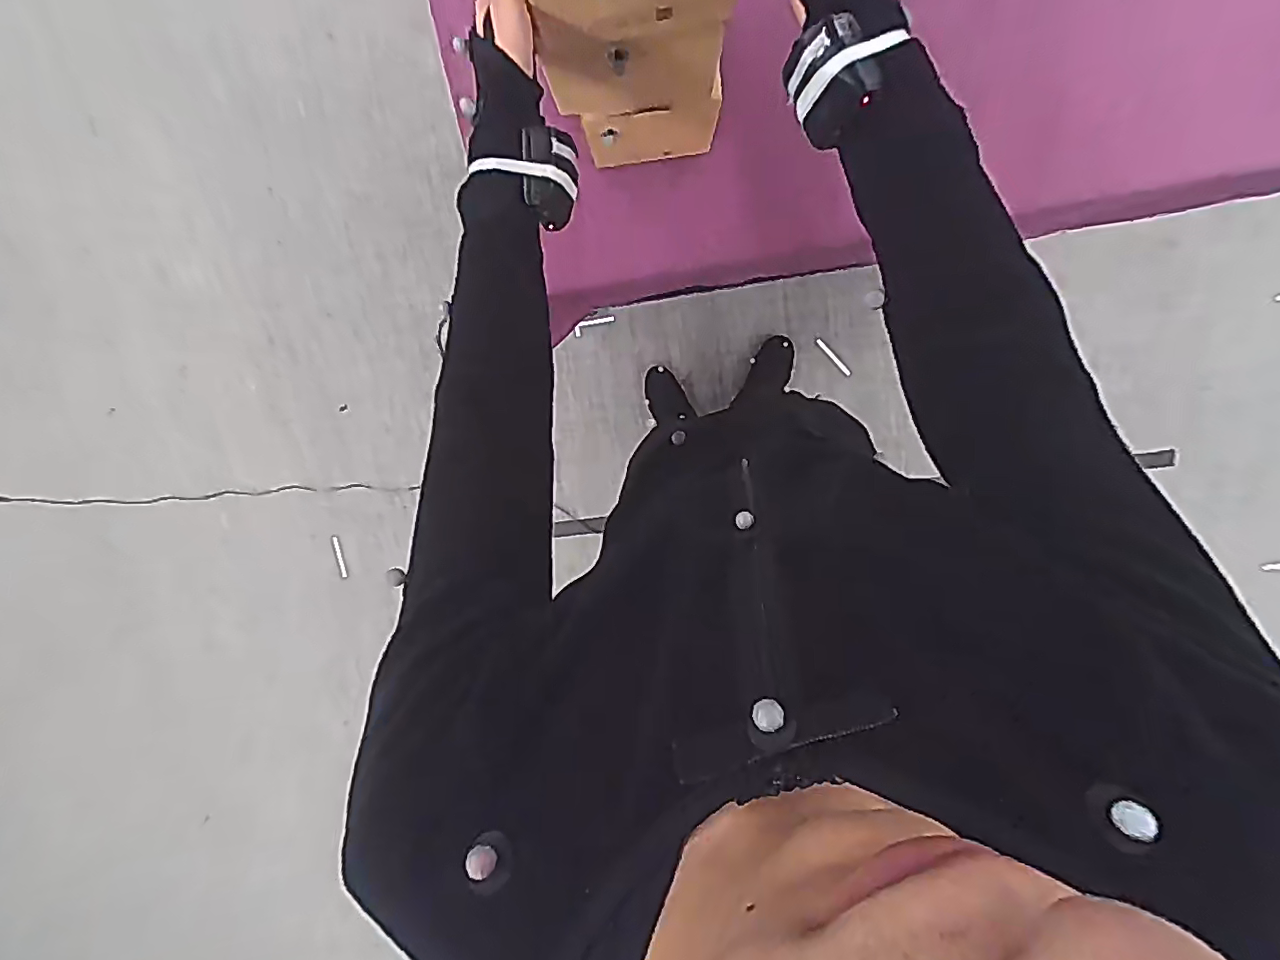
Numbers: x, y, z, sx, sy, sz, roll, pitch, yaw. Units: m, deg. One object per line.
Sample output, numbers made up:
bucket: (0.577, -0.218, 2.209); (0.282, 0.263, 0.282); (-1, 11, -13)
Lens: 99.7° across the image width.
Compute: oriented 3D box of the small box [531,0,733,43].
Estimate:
small box: (-0.014, -0.445, 0.374); (0.168, 0.176, 0.179); (-7, 101, 3)

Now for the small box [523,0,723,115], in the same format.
small box: (-0.013, -0.484, 0.532); (0.179, 0.176, 0.168); (-1, 103, 1)
